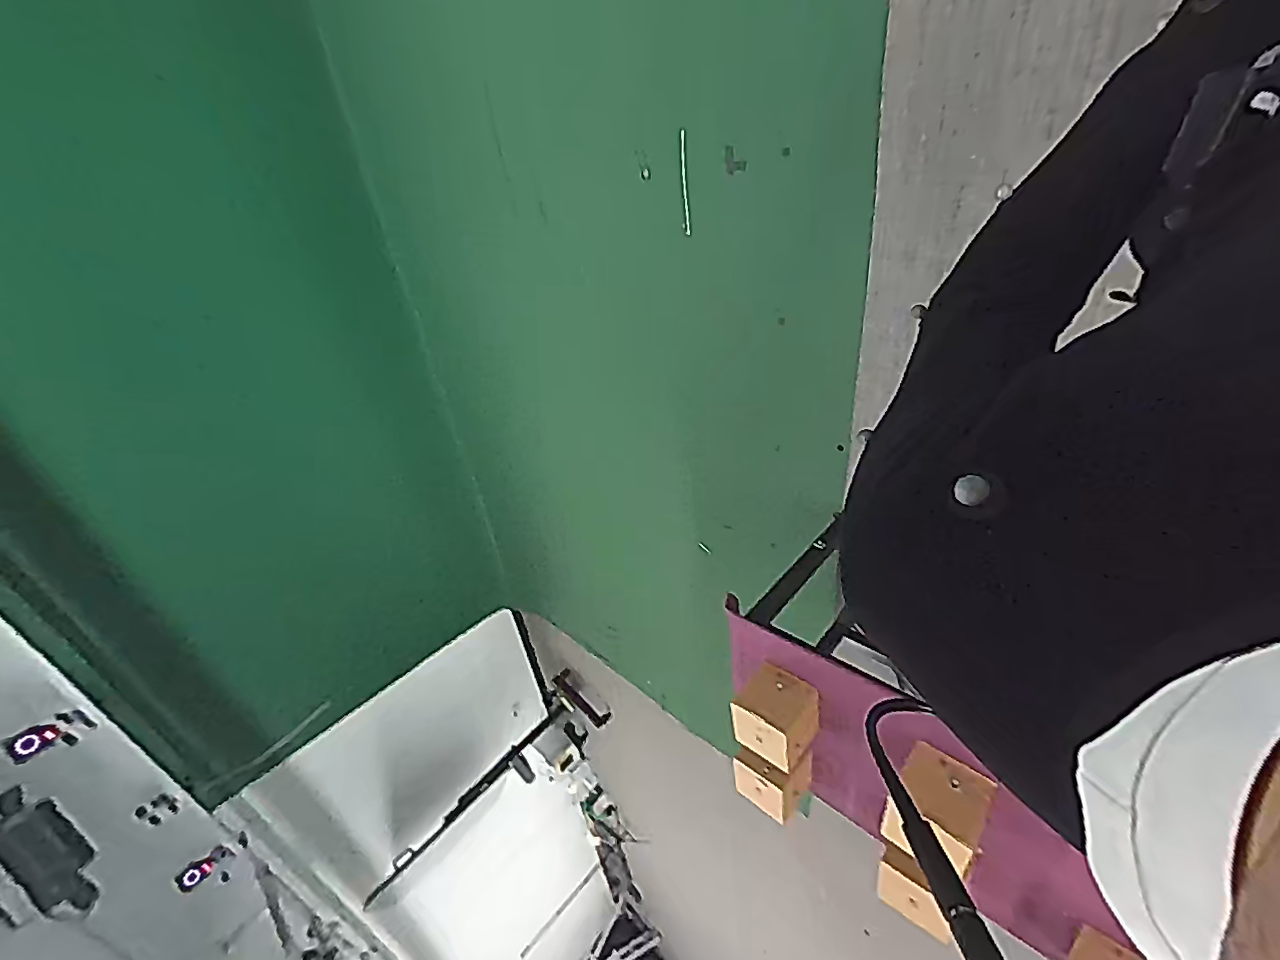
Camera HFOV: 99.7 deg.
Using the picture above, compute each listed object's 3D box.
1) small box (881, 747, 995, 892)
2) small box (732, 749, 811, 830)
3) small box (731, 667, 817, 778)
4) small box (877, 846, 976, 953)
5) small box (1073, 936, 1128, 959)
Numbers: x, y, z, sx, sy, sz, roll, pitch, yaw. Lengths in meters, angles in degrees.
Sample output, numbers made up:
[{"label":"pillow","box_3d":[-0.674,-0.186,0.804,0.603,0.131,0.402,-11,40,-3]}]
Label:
[{"label":"small box","box_3d":[0.657,0.742,1.195,0.168,0.176,0.179,22,132,39]},{"label":"small box","box_3d":[0.395,0.879,1.609,0.168,0.176,0.179,18,130,41]},{"label":"small box","box_3d":[0.366,0.649,1.462,0.168,0.176,0.179,18,131,39]},{"label":"small box","box_3d":[0.703,0.983,1.328,0.168,0.176,0.179,17,128,41]},{"label":"small box","box_3d":[0.968,1.089,1.092,0.168,0.176,0.179,17,129,43]}]
